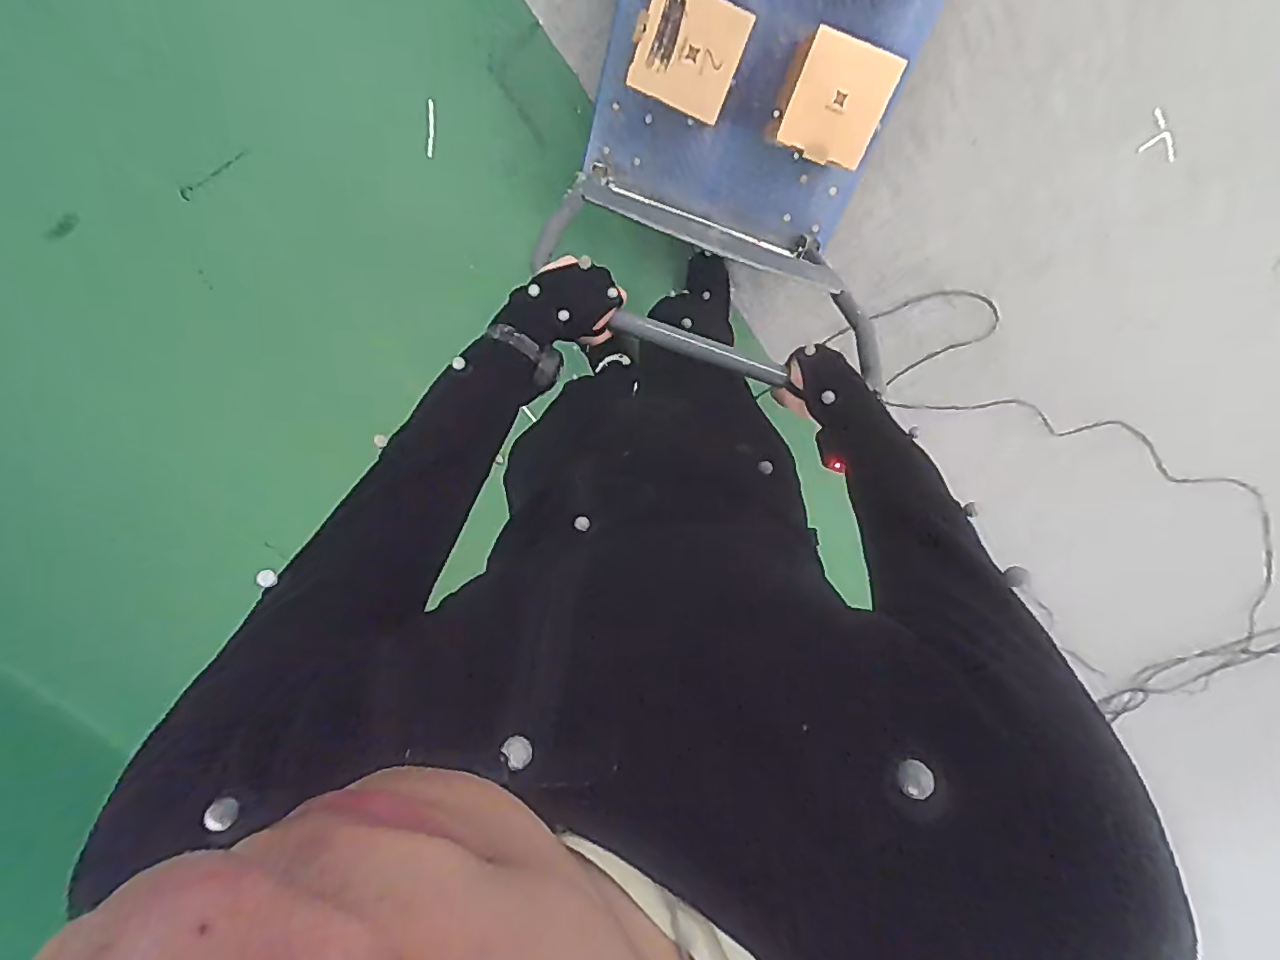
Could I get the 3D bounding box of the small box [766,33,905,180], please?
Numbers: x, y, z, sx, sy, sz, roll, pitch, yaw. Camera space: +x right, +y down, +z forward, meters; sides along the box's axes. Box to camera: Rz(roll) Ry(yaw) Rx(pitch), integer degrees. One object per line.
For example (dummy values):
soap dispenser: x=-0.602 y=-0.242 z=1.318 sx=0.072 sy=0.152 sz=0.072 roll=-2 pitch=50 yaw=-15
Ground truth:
small box: x=0.353 y=-0.697 z=1.021 sx=0.168 sy=0.176 sz=0.179 roll=17 pitch=123 yaw=-7
